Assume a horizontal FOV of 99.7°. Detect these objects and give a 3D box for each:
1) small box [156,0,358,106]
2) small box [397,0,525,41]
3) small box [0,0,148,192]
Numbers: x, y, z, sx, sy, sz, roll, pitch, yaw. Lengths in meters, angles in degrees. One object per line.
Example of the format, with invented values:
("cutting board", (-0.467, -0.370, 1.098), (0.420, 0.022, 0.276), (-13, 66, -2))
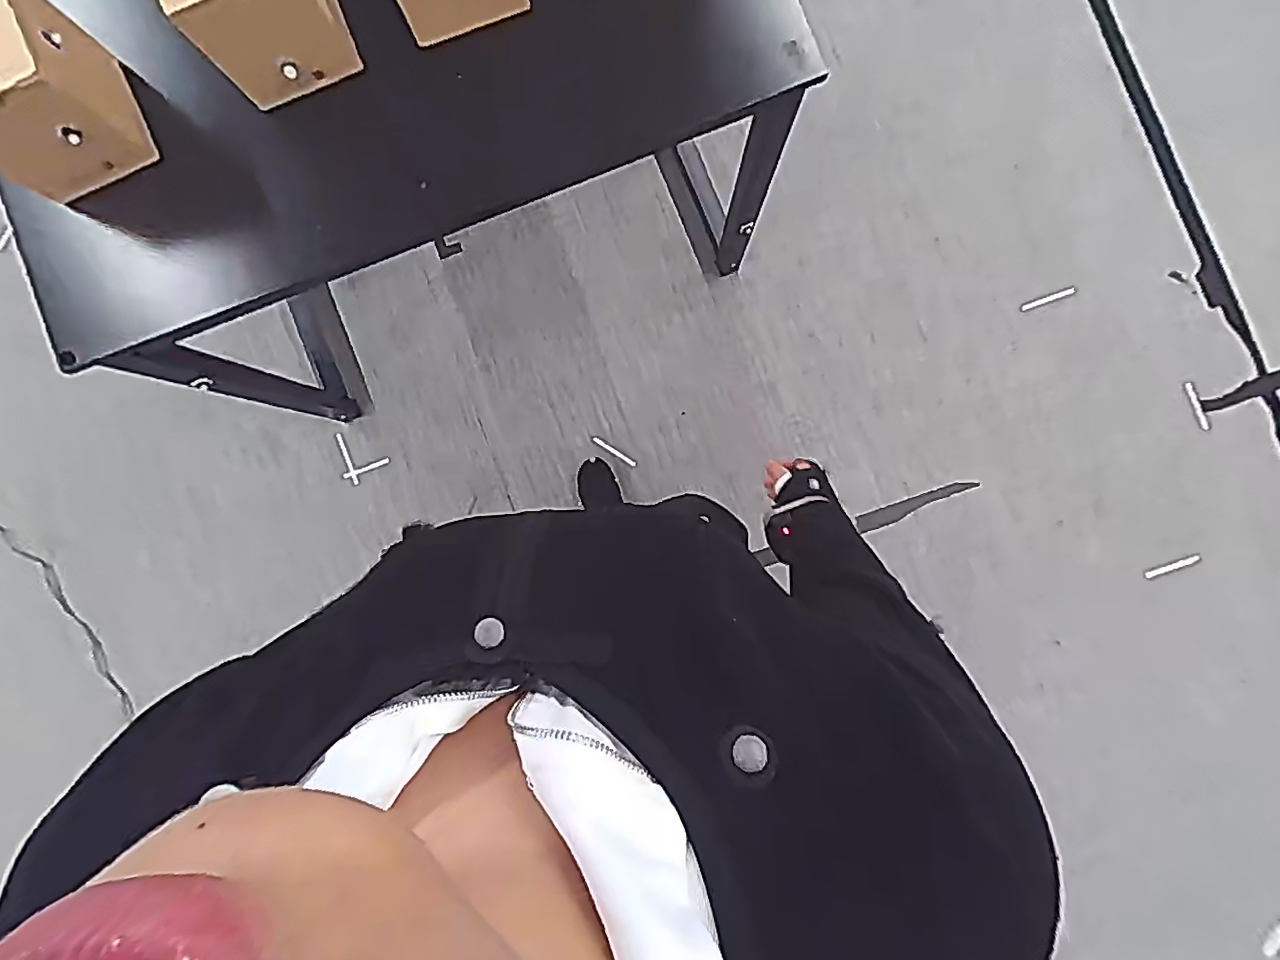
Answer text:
("small box", (-0.514, -0.652, 0.712), (0.168, 0.176, 0.179), (-22, 89, 0))
("small box", (-0.268, -0.738, 0.712), (0.179, 0.176, 0.168), (-19, 88, 1))
("small box", (-0.818, -0.517, 0.714), (0.168, 0.176, 0.179), (-25, 88, -1))
